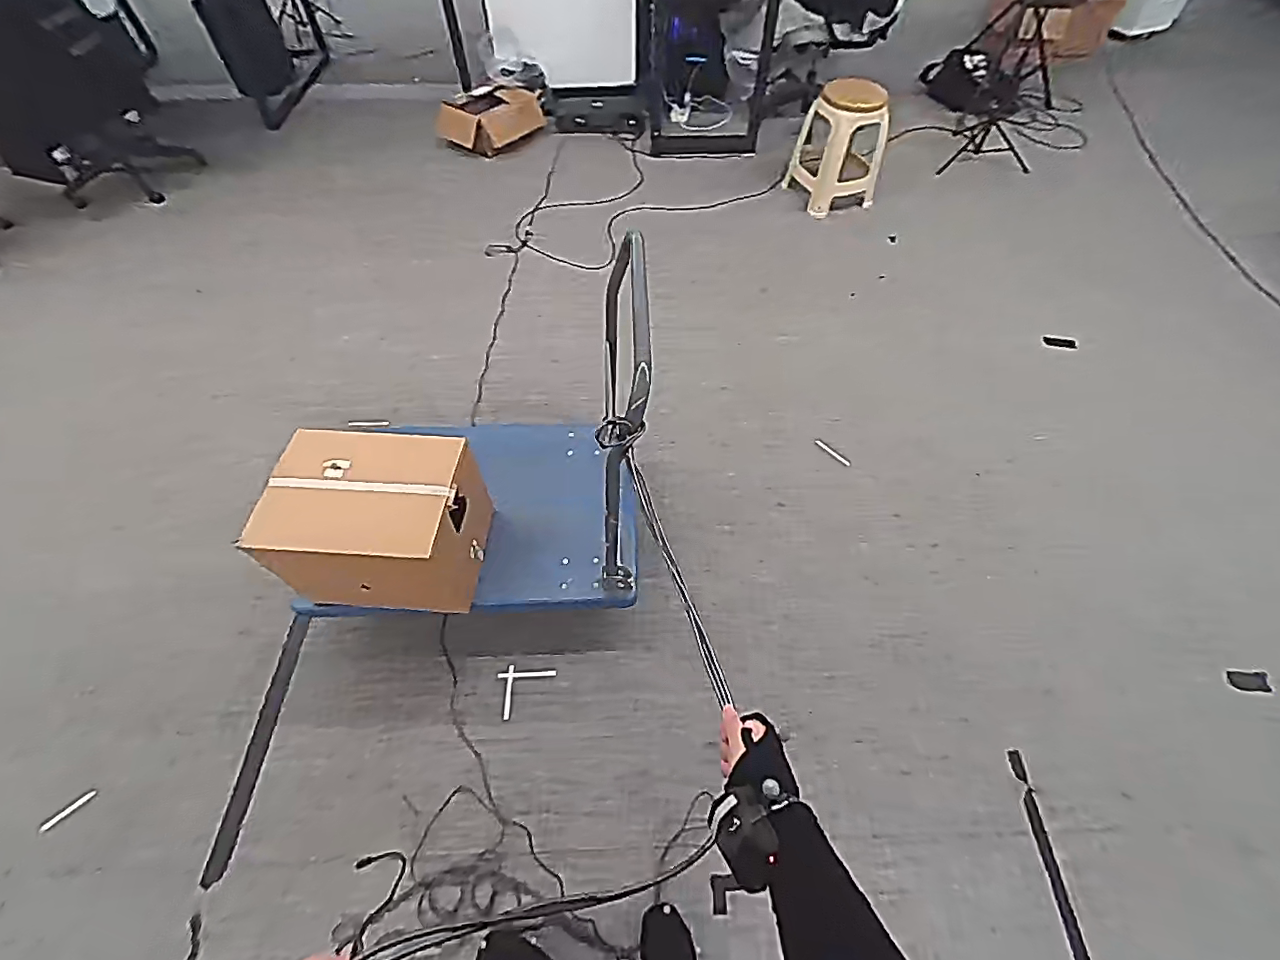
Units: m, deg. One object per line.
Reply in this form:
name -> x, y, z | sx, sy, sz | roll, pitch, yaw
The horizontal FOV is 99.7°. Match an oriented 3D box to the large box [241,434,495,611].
large box -> -0.601, 0.109, 1.291 | 0.408, 0.320, 0.320 | 3, 55, 2
